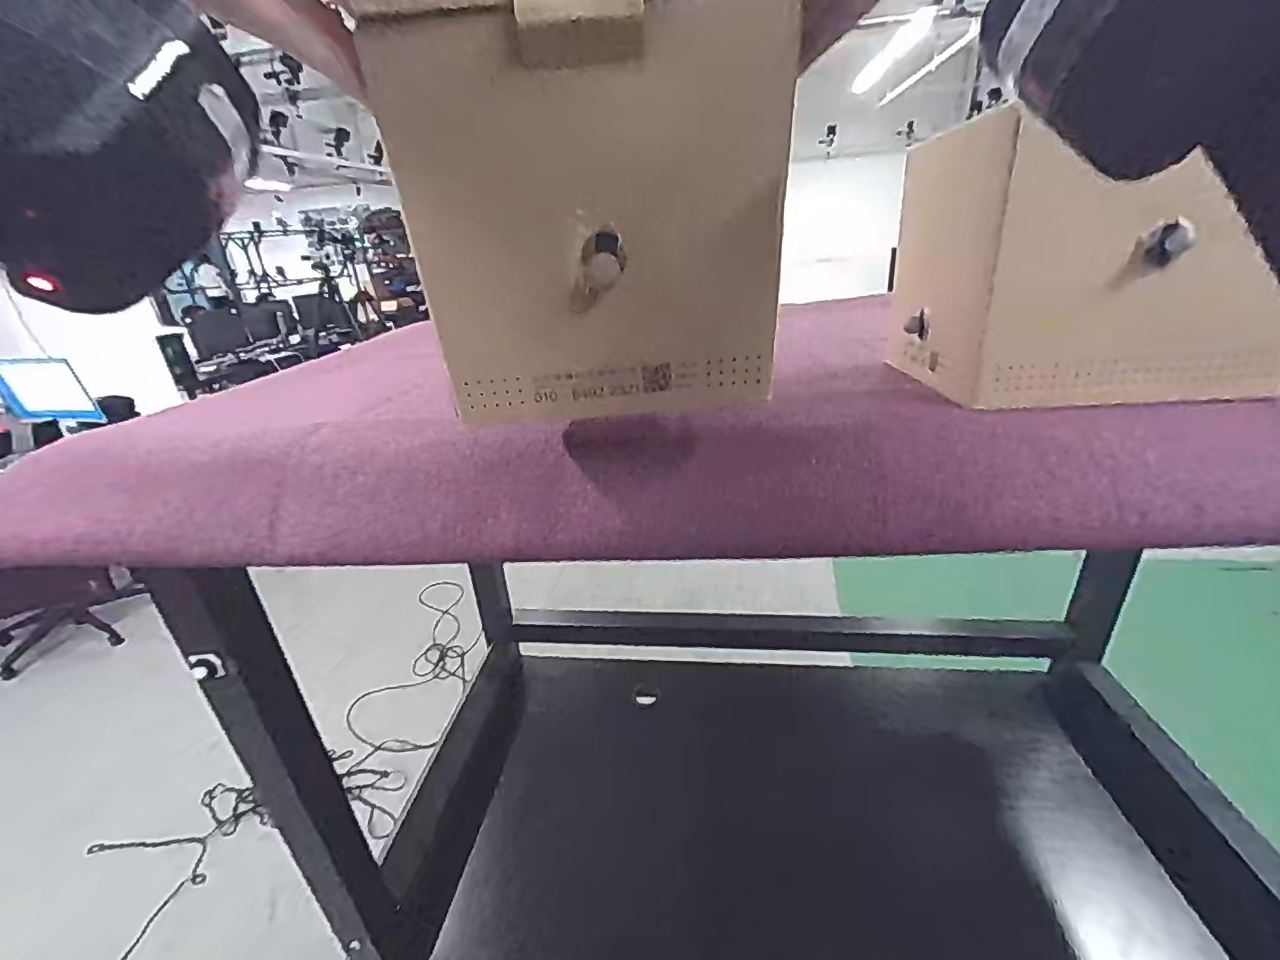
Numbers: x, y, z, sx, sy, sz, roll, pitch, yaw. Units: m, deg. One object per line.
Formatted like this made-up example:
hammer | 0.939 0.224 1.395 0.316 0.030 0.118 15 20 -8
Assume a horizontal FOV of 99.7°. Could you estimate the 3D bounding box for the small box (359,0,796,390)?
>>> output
small box | -0.021 -0.158 0.307 0.168 0.176 0.179 -4 35 -2
